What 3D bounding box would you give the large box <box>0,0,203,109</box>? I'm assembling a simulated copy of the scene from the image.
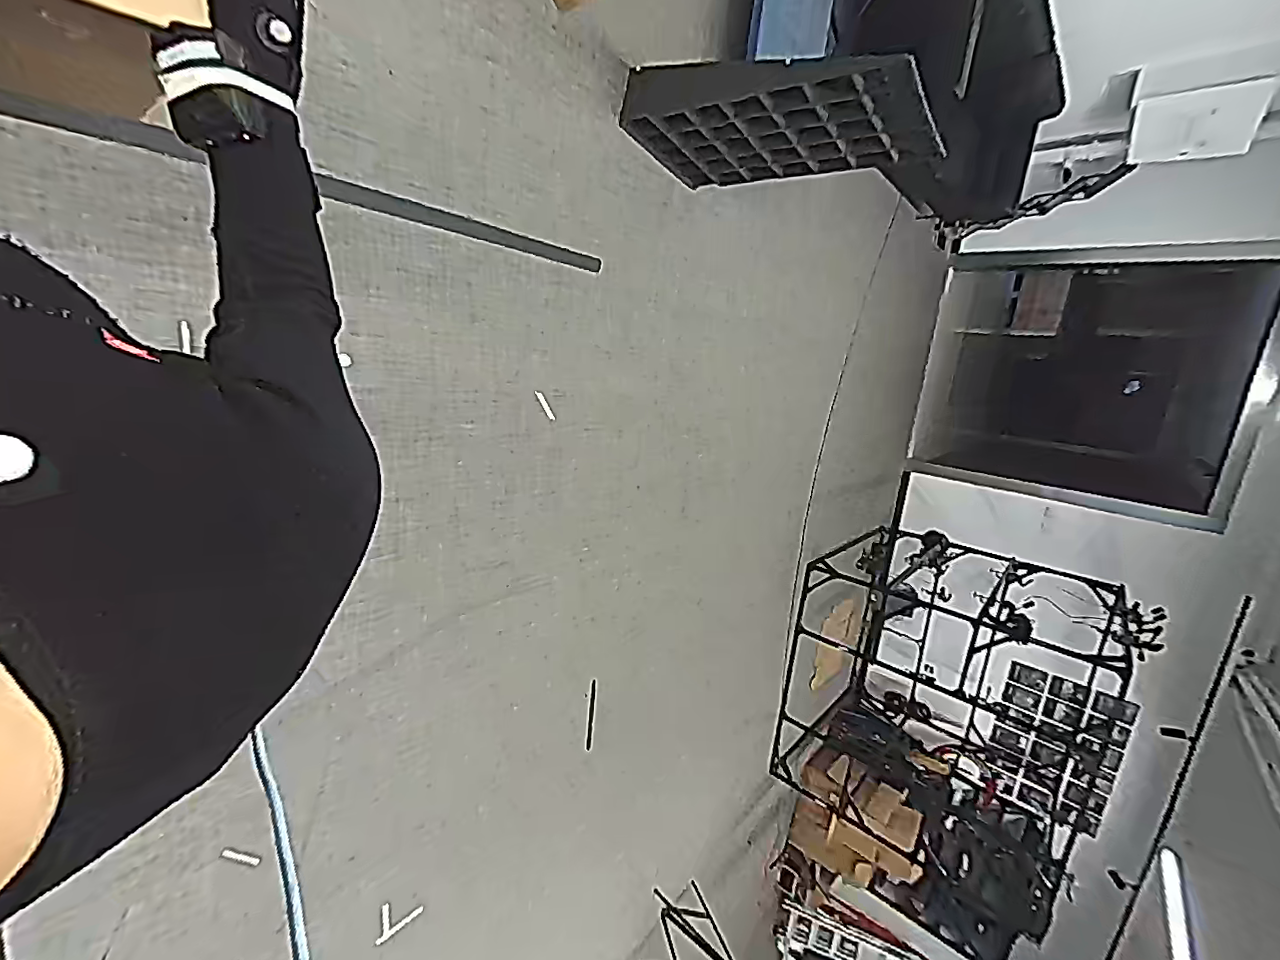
[{"bbox_3d":[-0.547,-0.463,0.292,0.408,0.320,0.320,-14,115,-48],"label":"large box"}]
